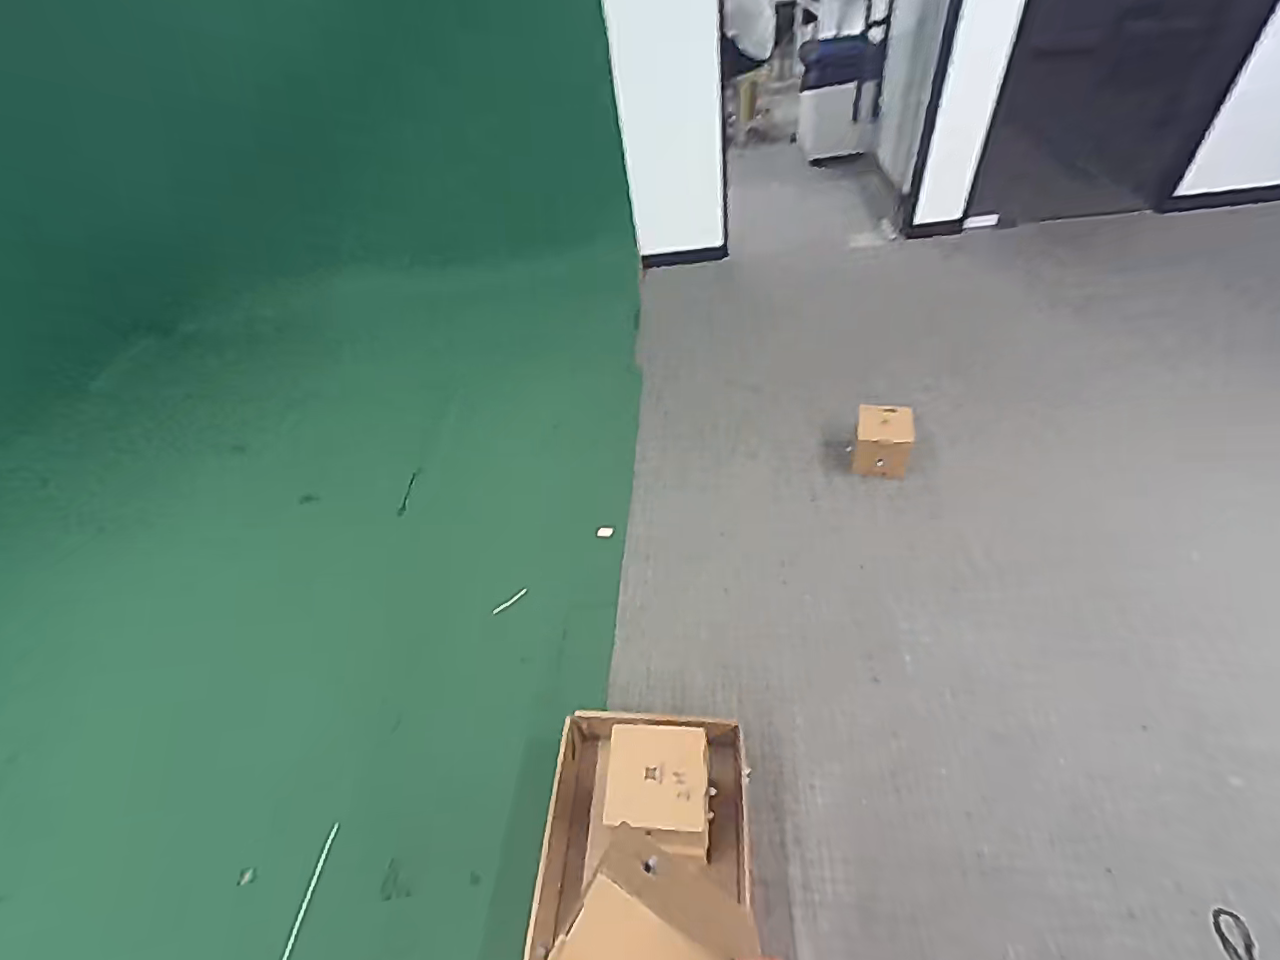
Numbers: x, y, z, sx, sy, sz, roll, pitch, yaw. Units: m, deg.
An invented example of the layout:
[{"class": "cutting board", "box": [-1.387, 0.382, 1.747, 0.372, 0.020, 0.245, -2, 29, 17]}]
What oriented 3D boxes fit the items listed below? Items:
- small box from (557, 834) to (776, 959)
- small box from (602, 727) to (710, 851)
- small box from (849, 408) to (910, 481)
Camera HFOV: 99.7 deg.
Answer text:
[{"class": "small box", "box": [0.015, 0.474, 0.511, 0.179, 0.176, 0.168, 29, 77, 13]}, {"class": "small box", "box": [0.038, 0.575, 1.003, 0.179, 0.176, 0.168, -1, 49, 8]}, {"class": "small box", "box": [0.796, -0.117, 1.804, 0.168, 0.176, 0.179, 6, 50, 16]}]
